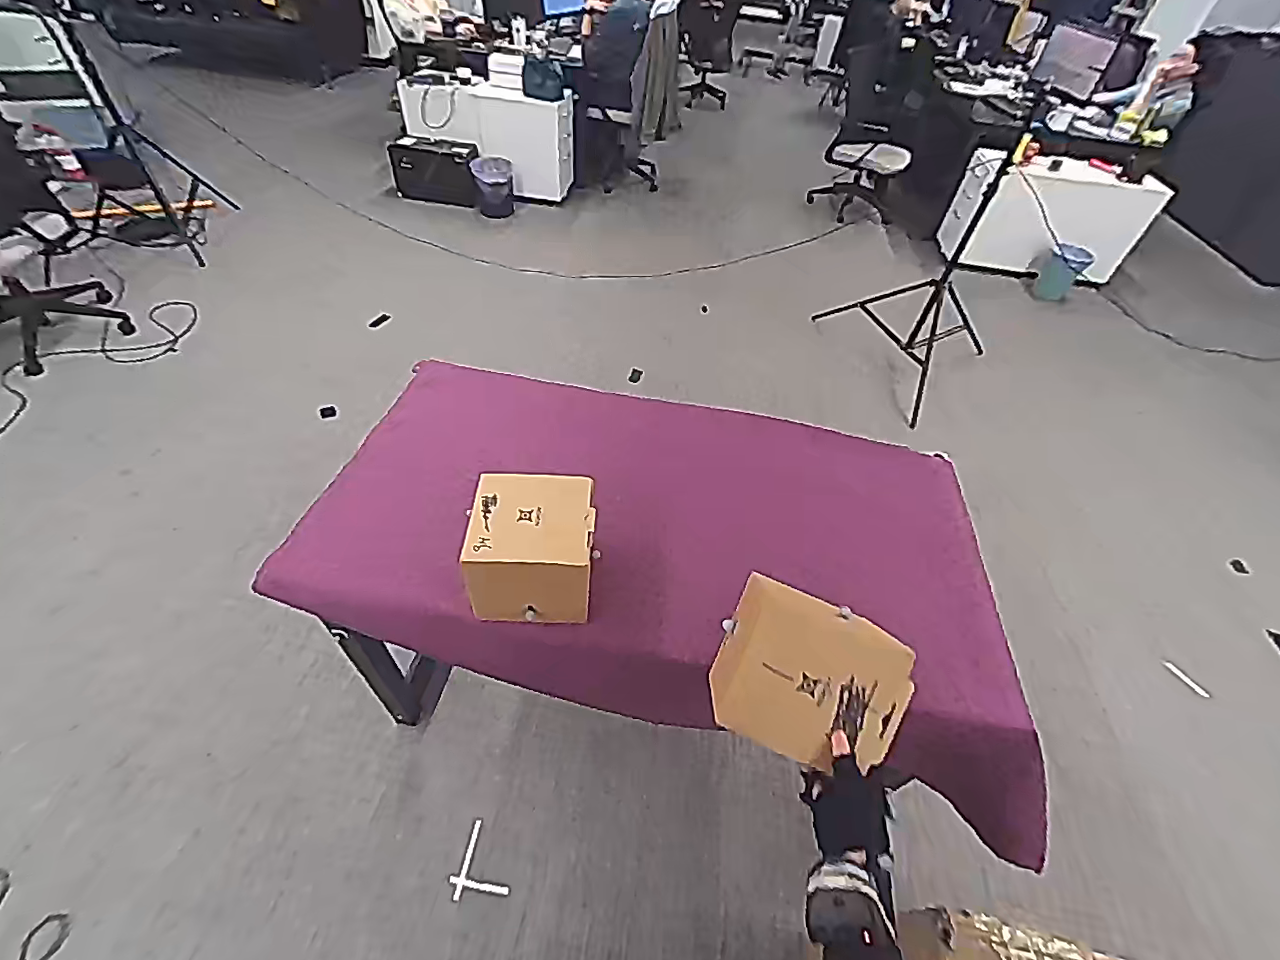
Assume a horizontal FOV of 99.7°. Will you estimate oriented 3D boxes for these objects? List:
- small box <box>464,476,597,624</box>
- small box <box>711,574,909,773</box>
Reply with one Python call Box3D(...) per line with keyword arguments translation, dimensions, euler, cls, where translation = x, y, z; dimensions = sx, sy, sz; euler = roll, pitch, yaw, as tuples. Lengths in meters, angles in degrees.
Box3D(translation=(-0.162, 0.114, 0.852), dimensions=(0.179, 0.176, 0.168), euler=(3, 46, -4), cls="small box")
Box3D(translation=(0.202, 0.229, 0.695), dimensions=(0.179, 0.176, 0.168), euler=(22, 88, 7), cls="small box")
